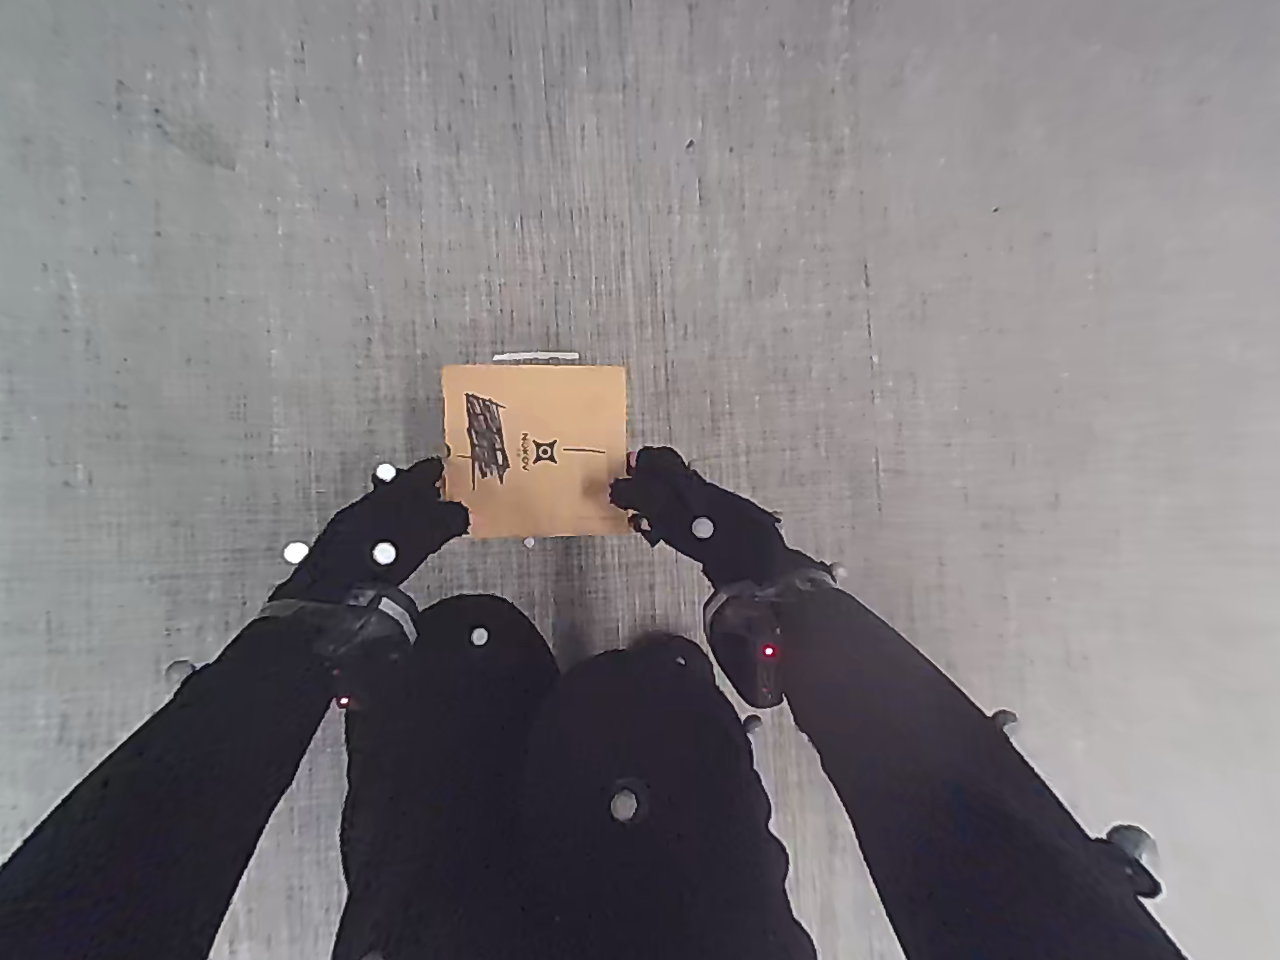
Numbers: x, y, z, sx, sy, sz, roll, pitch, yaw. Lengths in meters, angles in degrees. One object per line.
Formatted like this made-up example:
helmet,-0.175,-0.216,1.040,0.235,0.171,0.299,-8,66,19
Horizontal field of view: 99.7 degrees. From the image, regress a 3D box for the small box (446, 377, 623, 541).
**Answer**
small box,-0.110,-0.018,0.618,0.179,0.176,0.168,-1,88,-6
